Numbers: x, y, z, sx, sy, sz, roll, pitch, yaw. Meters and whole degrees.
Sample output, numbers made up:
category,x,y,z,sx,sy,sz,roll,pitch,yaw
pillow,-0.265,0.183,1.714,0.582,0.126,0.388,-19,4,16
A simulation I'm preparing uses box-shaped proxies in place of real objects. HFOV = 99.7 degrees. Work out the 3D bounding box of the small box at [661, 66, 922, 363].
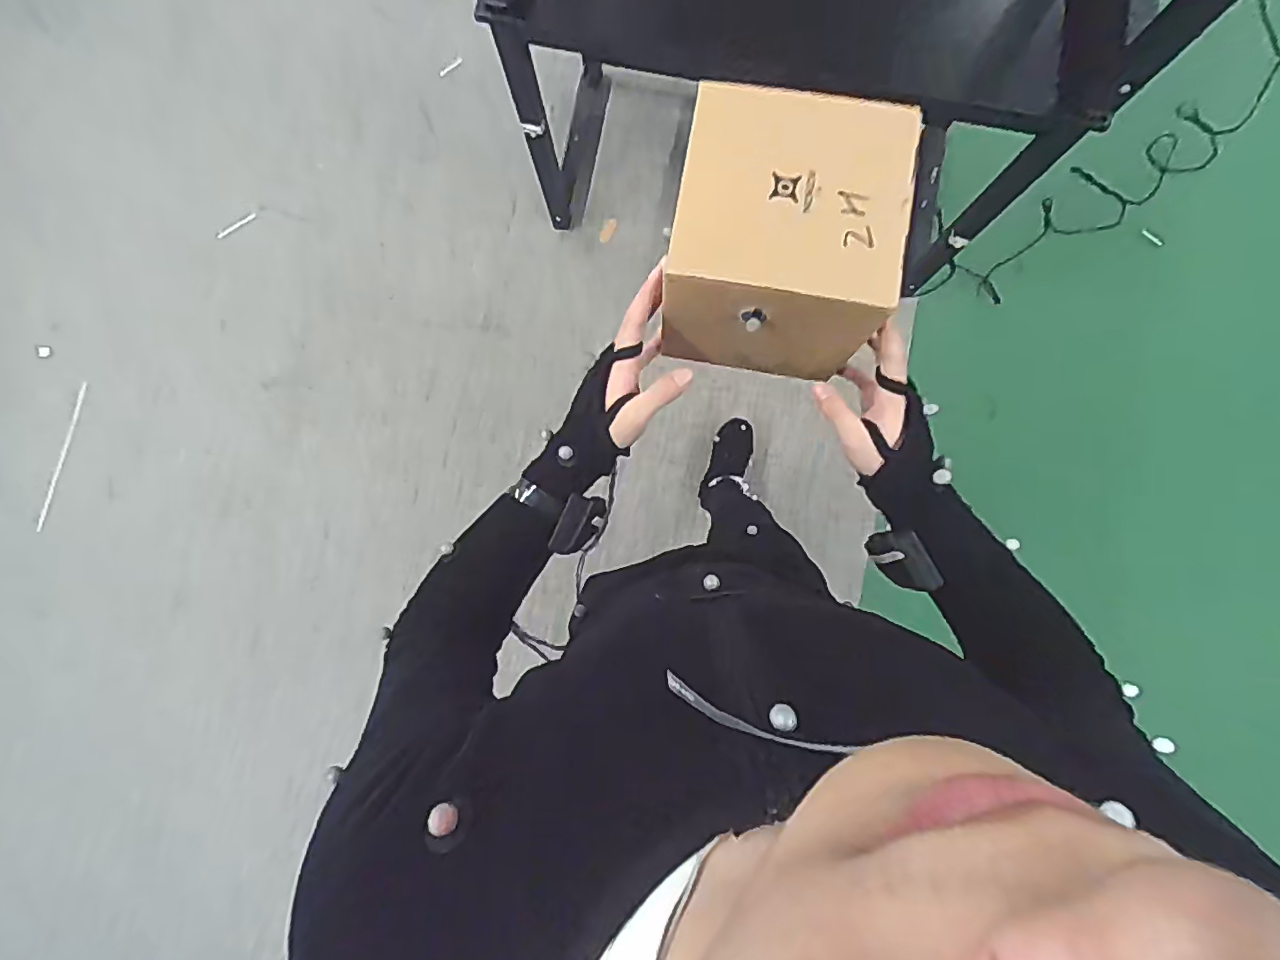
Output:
category,x,y,z,sx,sy,sz,roll,pitch,yaw
small box,0.119,-0.218,0.484,0.179,0.176,0.168,10,82,4
